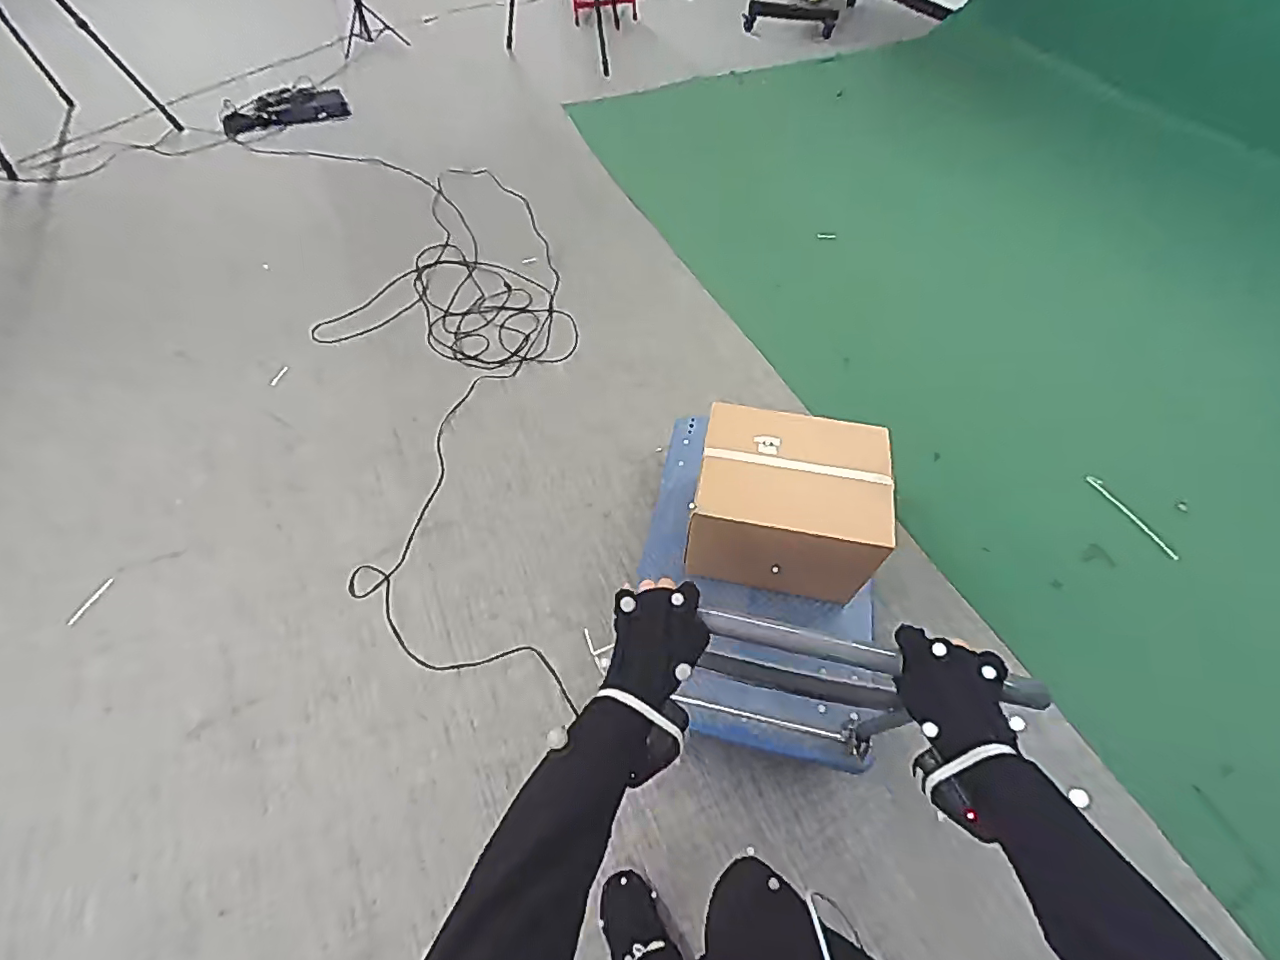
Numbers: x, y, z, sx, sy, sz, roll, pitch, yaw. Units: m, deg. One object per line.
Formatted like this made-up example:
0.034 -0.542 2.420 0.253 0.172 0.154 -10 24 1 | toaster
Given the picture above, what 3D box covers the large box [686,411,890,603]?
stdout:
0.338 0.071 1.302 0.408 0.320 0.320 10 56 7 | large box
